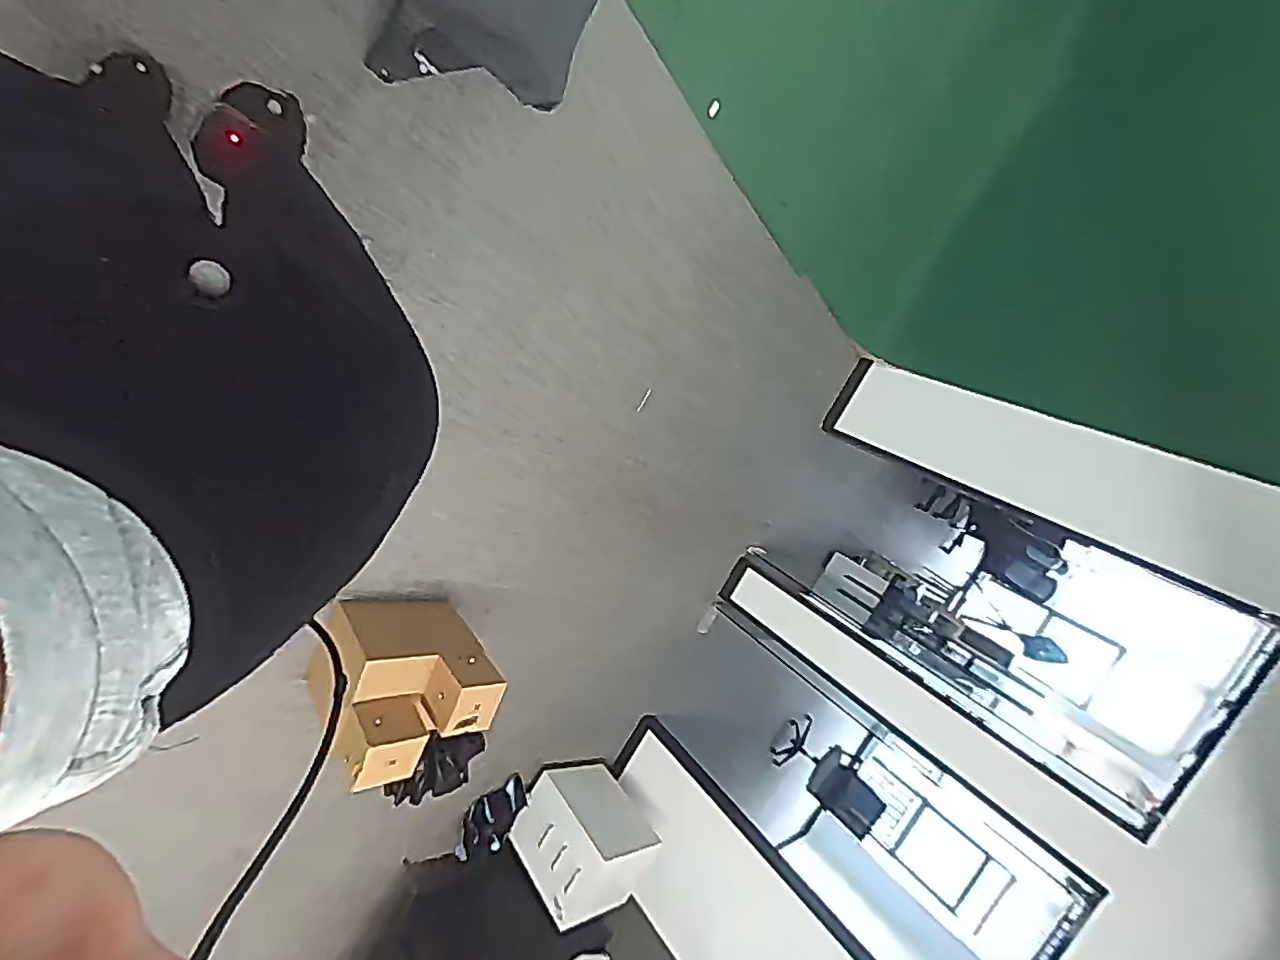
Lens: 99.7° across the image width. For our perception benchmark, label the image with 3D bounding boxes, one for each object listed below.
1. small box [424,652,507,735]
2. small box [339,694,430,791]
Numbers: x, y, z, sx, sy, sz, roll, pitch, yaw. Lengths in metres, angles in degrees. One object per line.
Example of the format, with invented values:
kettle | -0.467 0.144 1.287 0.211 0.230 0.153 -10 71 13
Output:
small box | -0.560 0.671 1.717 0.168 0.176 0.179 16 100 -49
small box | -0.754 0.759 1.584 0.179 0.176 0.168 9 112 -49
